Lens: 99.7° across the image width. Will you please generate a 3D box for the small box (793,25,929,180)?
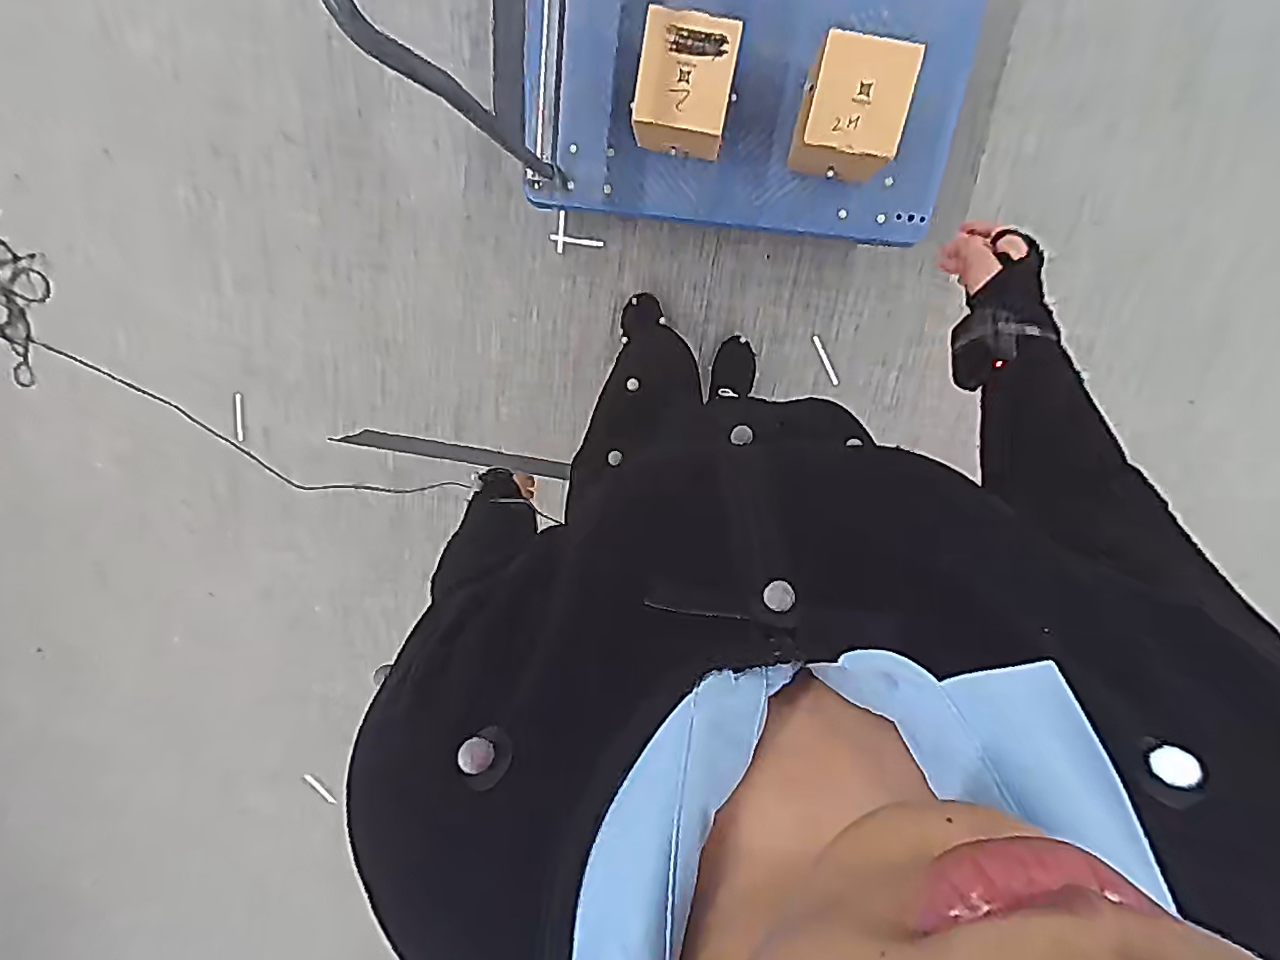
[{"bbox_3d":[0.396,-0.688,1.006,0.168,0.176,0.179,12,107,1],"label":"small box"}]
